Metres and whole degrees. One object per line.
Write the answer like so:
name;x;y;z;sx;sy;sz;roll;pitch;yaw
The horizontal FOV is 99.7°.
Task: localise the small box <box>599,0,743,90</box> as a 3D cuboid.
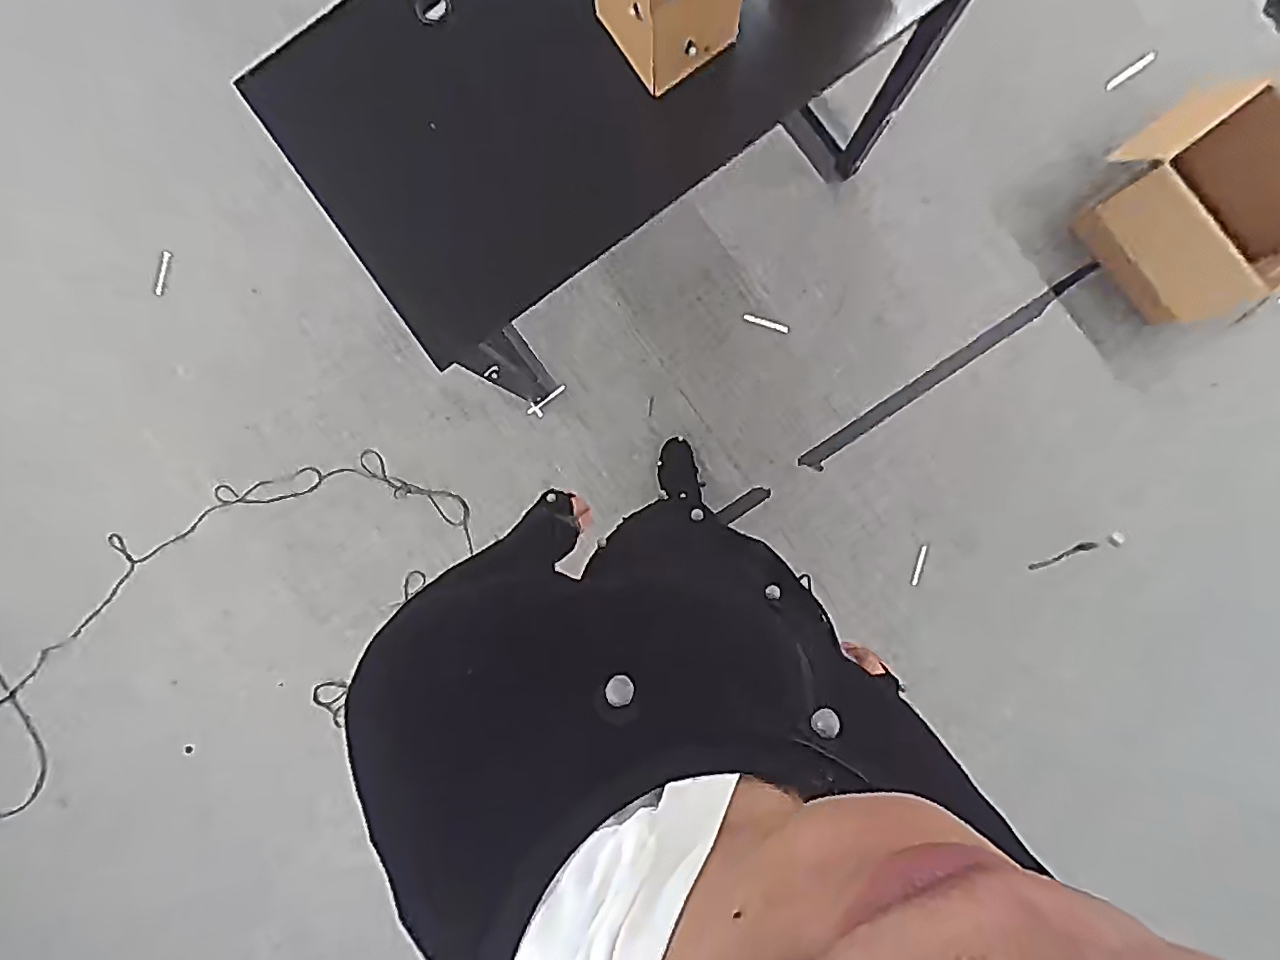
small box;0.041;-0.748;0.808;0.168;0.176;0.179;-35;90;2
